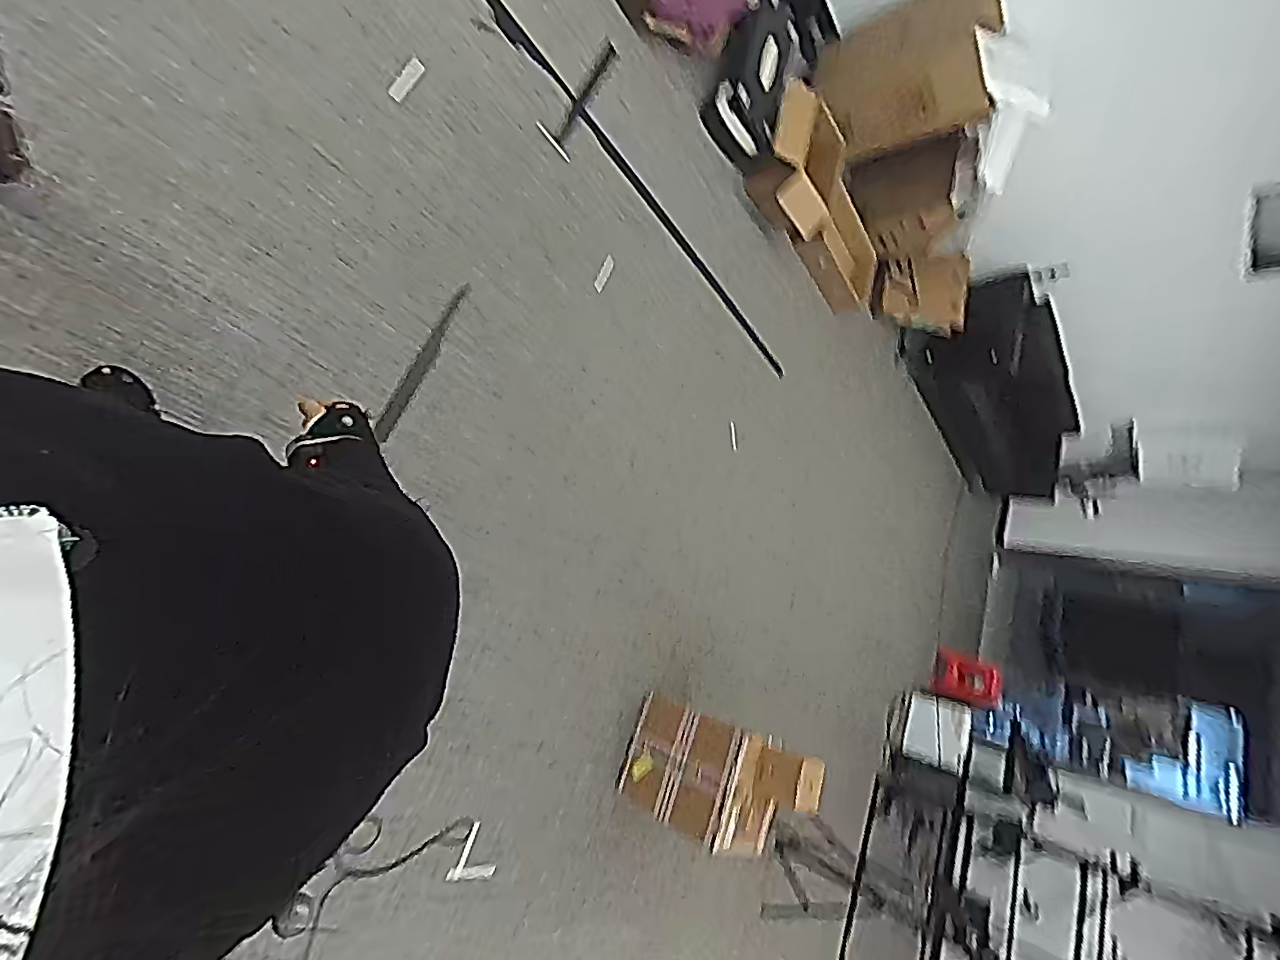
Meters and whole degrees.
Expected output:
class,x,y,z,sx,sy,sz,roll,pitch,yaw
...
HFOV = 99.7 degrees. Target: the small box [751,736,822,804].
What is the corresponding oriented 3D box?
class,x,y,z,sx,sy,sz,roll,pitch,yaw
small box,0.532,1.052,1.967,0.179,0.176,0.168,34,67,-38
